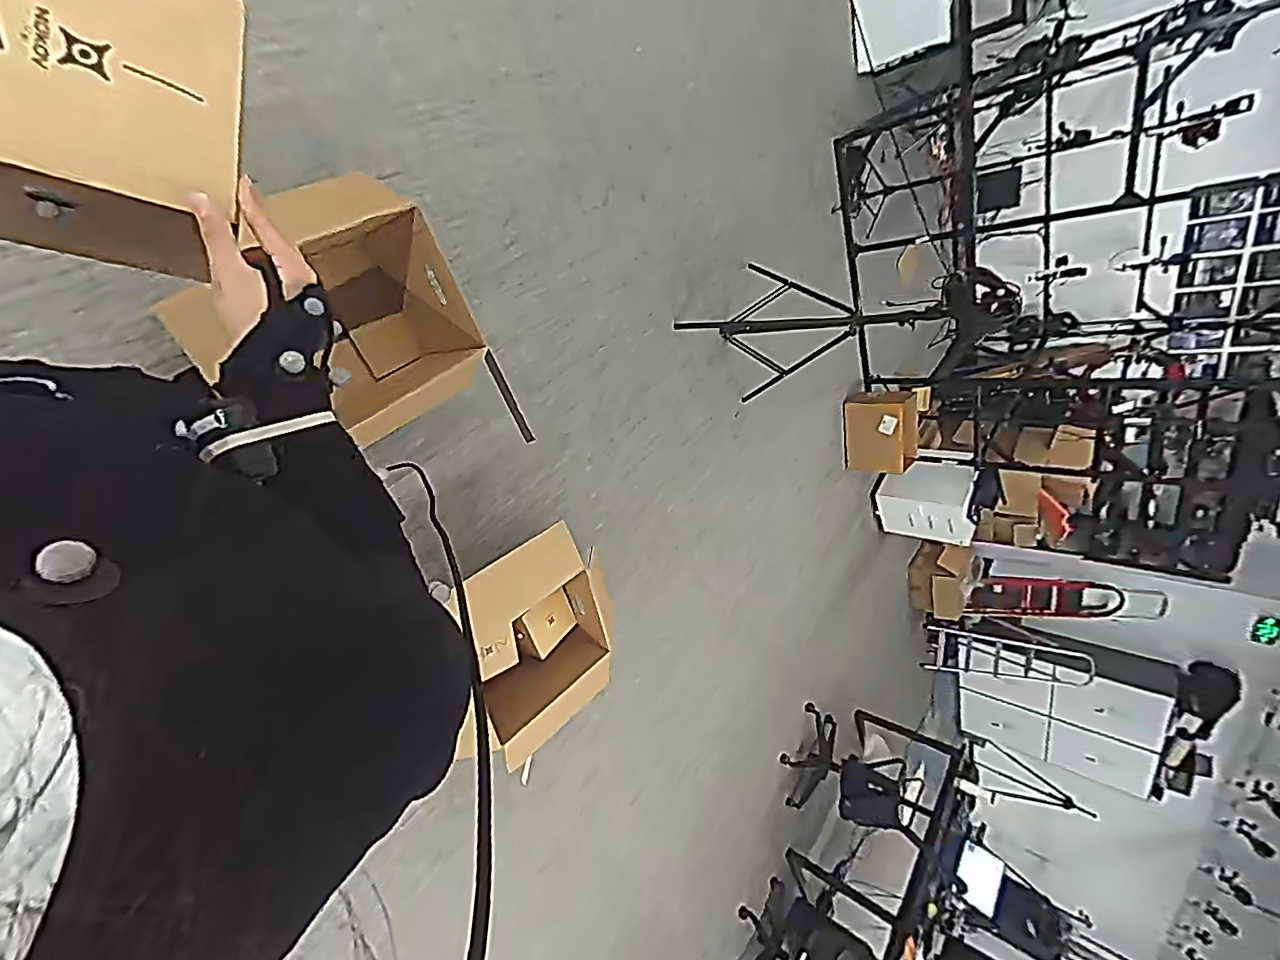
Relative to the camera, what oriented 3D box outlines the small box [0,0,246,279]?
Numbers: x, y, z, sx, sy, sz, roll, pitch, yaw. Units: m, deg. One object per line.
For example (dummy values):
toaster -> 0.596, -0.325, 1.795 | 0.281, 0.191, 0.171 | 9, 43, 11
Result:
small box -> -0.402, -0.264, 0.393 | 0.179, 0.176, 0.168 | 3, 90, -39
